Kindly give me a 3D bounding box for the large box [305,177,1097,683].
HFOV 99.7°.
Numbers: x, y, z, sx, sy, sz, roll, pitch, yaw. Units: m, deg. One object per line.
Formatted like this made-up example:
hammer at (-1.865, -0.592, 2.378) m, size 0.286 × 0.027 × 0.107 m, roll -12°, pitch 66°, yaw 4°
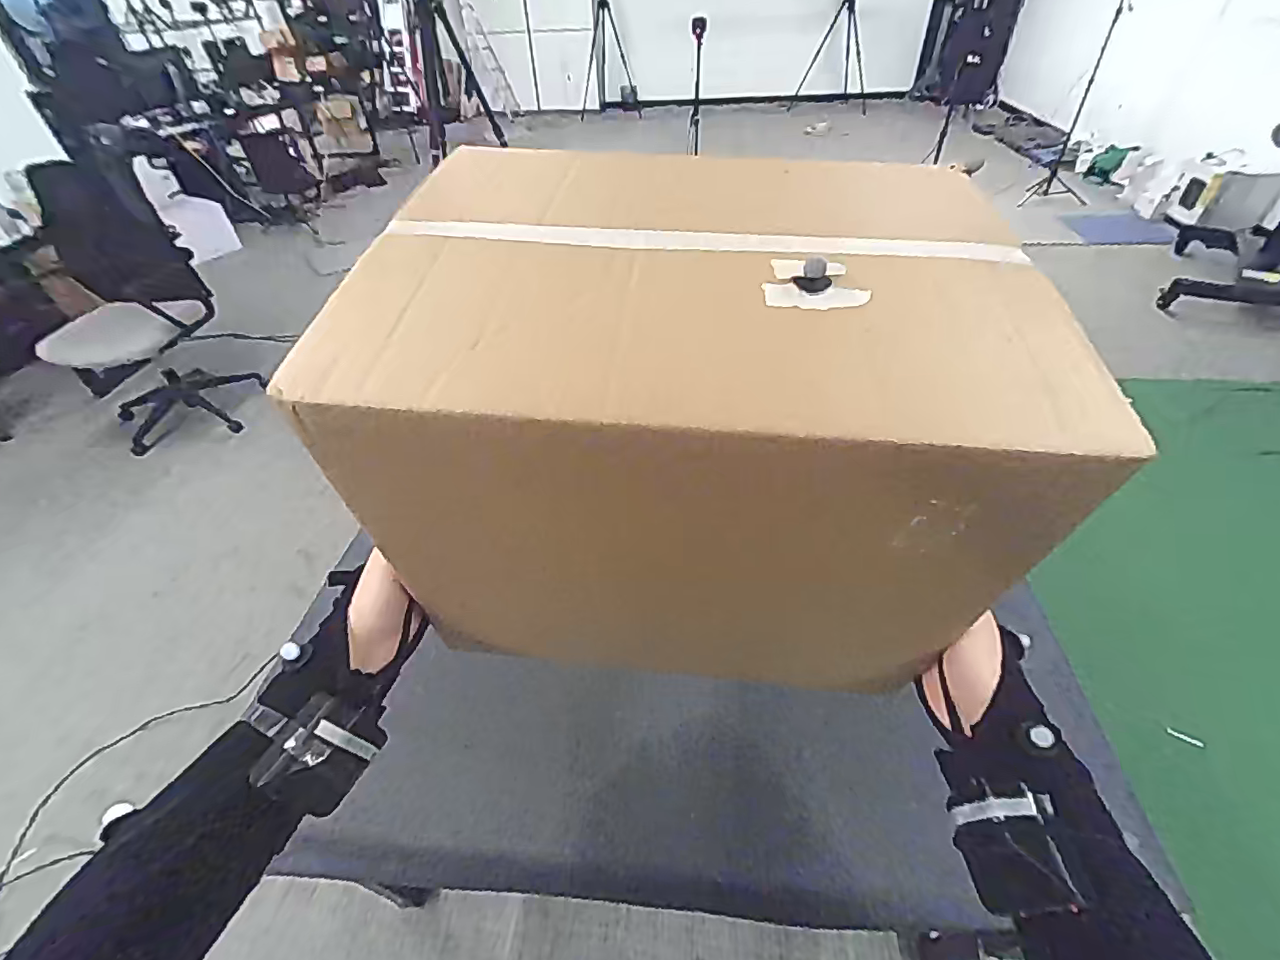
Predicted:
large box at (0.034, -0.038, 0.475) m, size 0.408 × 0.320 × 0.320 m, roll 4°, pitch 52°, yaw 3°
